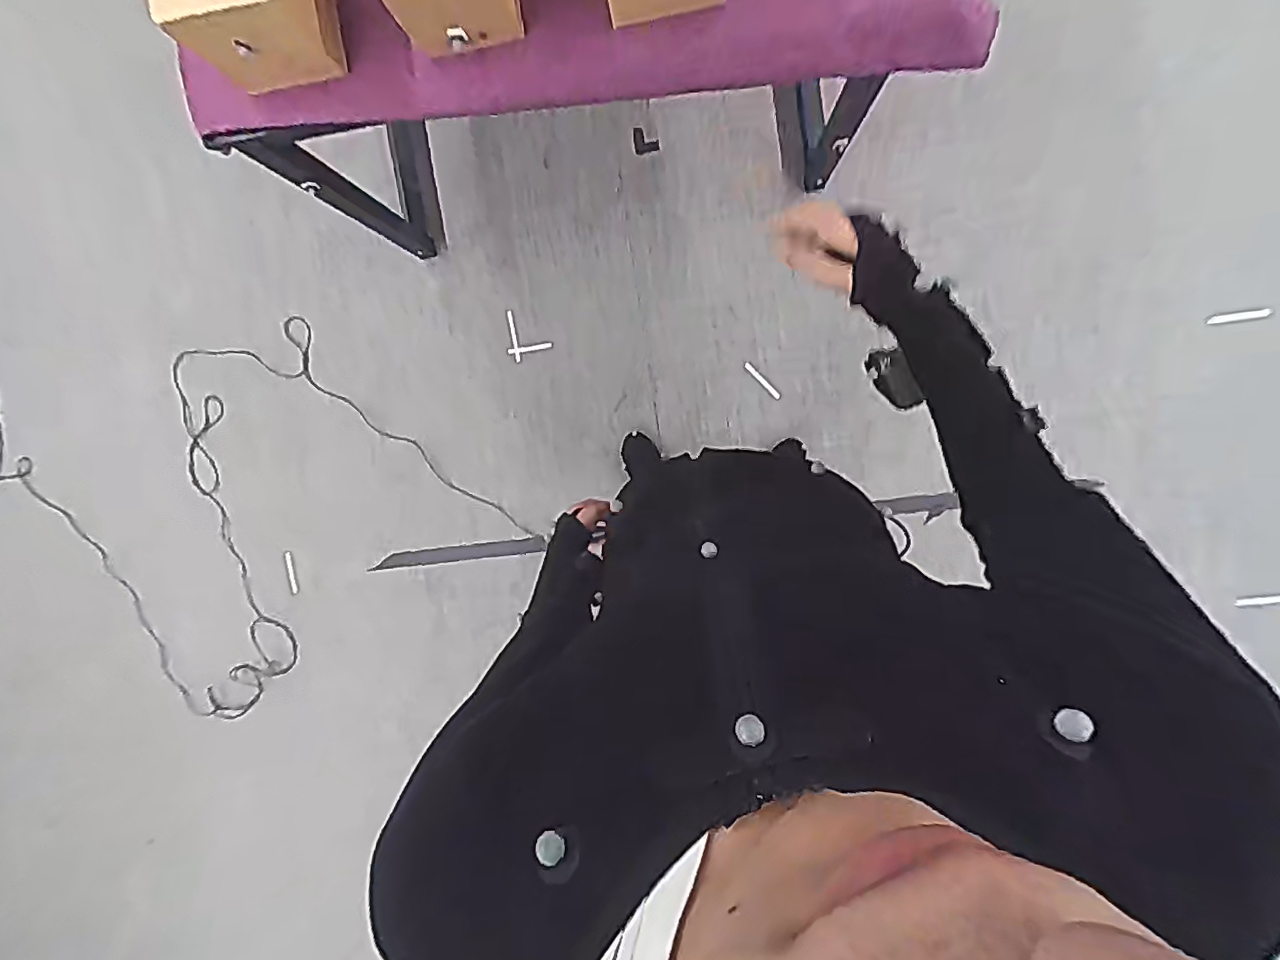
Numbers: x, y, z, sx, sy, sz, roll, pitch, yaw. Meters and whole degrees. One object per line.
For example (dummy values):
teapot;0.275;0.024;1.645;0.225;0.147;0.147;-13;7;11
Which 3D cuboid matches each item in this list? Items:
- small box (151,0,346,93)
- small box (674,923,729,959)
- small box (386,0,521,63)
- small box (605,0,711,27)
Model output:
small box;-0.575;-0.712;0.796;0.179;0.176;0.168;-7;96;6
small box;0.197;1.529;1.675;0.168;0.176;0.179;-8;93;5
small box;-0.283;-0.752;0.770;0.168;0.176;0.179;-8;97;6
small box;0.023;-0.776;0.738;0.179;0.176;0.168;-7;95;6
